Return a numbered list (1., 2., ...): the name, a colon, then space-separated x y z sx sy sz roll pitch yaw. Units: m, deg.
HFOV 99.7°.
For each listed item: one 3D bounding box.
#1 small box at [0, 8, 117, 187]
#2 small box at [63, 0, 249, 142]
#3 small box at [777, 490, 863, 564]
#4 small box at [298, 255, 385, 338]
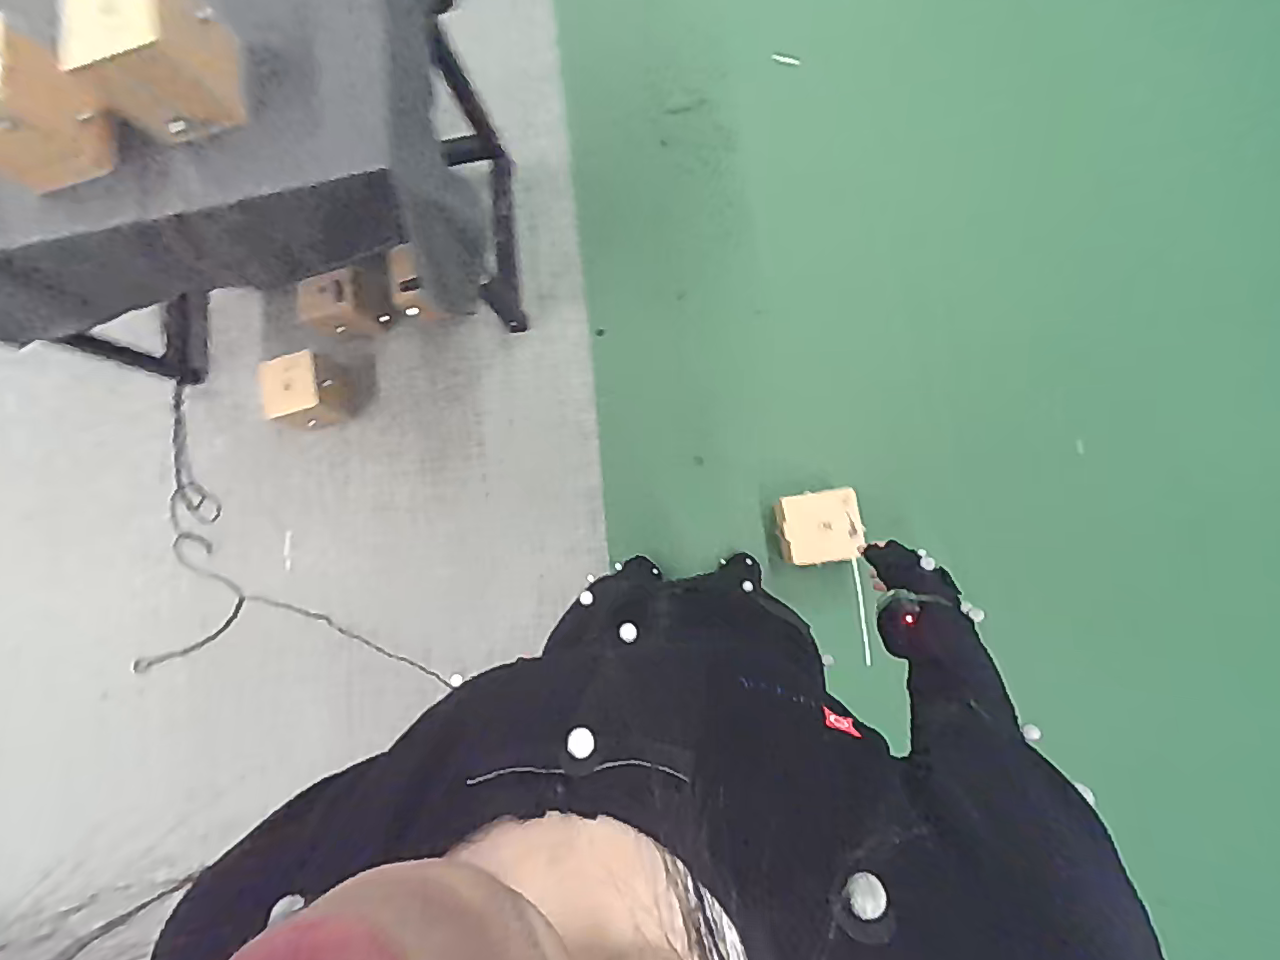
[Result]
1. small box: -1.067 -0.643 0.933 0.179 0.176 0.168 -11 81 6
2. small box: -0.795 -0.717 0.904 0.168 0.176 0.179 -10 82 7
3. small box: 0.447 0.124 1.374 0.179 0.176 0.168 -8 82 8
4. small box: -0.892 -0.548 1.634 0.179 0.176 0.168 -9 82 8
